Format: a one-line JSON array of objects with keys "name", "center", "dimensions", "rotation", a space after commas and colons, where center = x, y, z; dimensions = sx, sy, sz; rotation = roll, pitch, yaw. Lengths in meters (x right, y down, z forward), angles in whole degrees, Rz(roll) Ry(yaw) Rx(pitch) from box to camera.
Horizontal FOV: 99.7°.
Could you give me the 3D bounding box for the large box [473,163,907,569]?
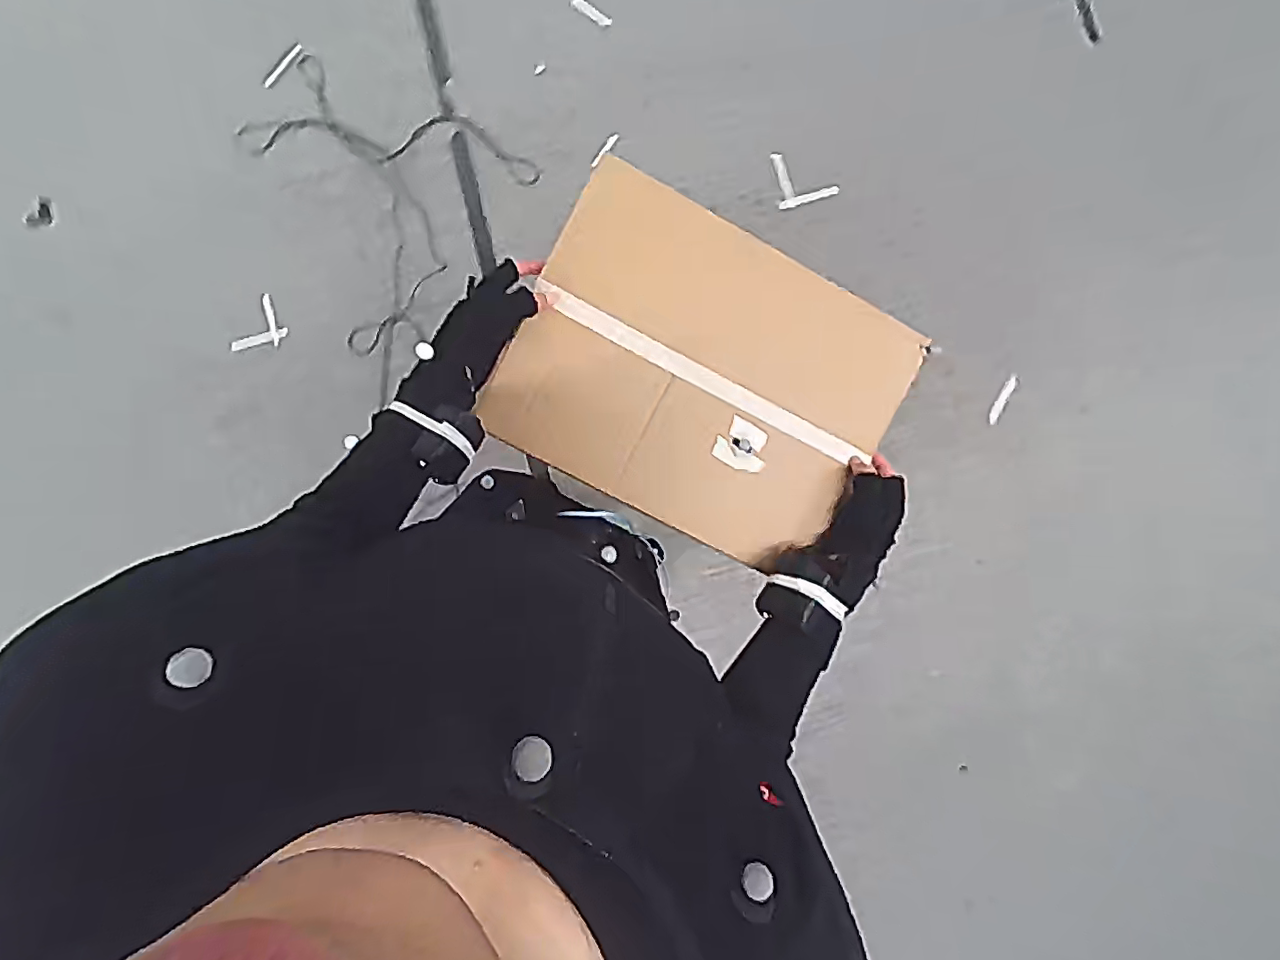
[{"name": "large box", "center": [0.047, -0.125, 0.738], "dimensions": [0.408, 0.320, 0.320], "rotation": [26, 92, -7]}]
